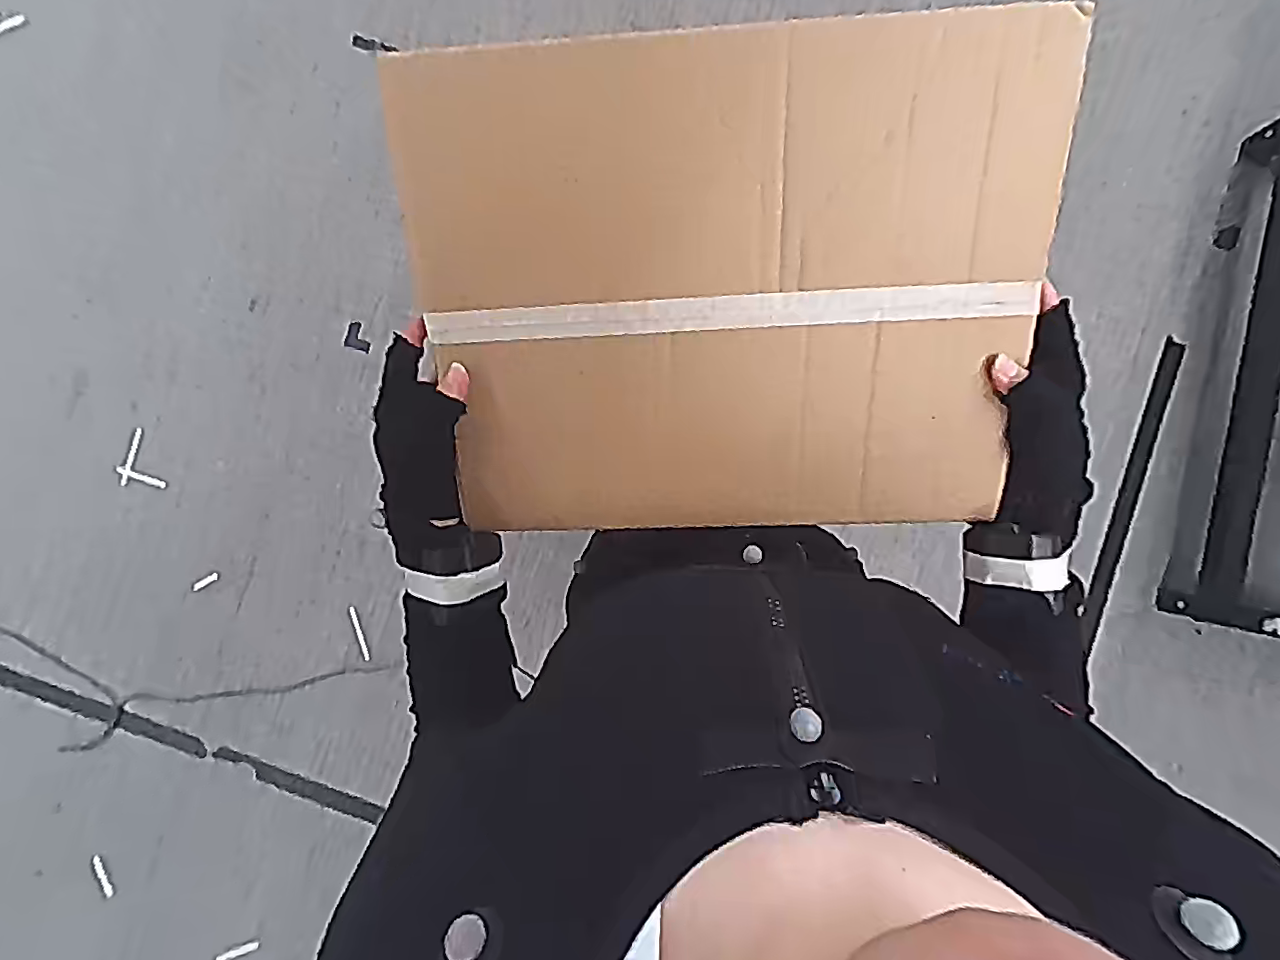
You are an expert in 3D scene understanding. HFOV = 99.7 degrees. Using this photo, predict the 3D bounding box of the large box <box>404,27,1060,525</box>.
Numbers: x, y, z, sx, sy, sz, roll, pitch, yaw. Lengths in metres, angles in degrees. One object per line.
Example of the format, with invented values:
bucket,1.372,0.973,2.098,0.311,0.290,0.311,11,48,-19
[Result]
large box,0.061,-0.165,0.516,0.408,0.320,0.320,-1,112,3
